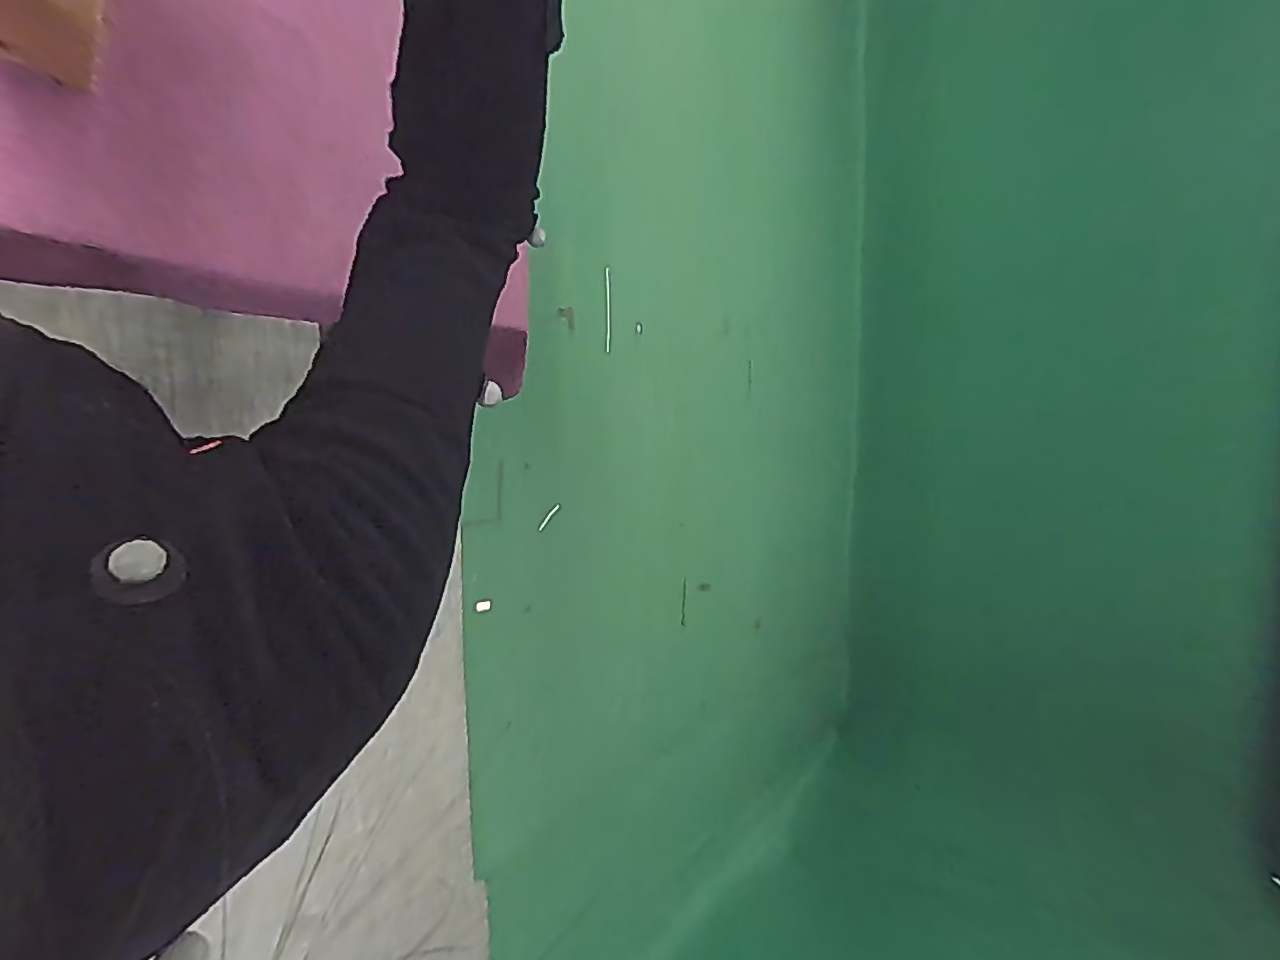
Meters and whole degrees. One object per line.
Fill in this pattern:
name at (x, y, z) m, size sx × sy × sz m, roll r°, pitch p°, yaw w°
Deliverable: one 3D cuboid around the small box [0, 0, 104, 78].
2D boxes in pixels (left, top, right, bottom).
small box at (-0.542, -0.480, 0.428) m, size 0.168 × 0.176 × 0.179 m, roll 2°, pitch 92°, yaw -47°
